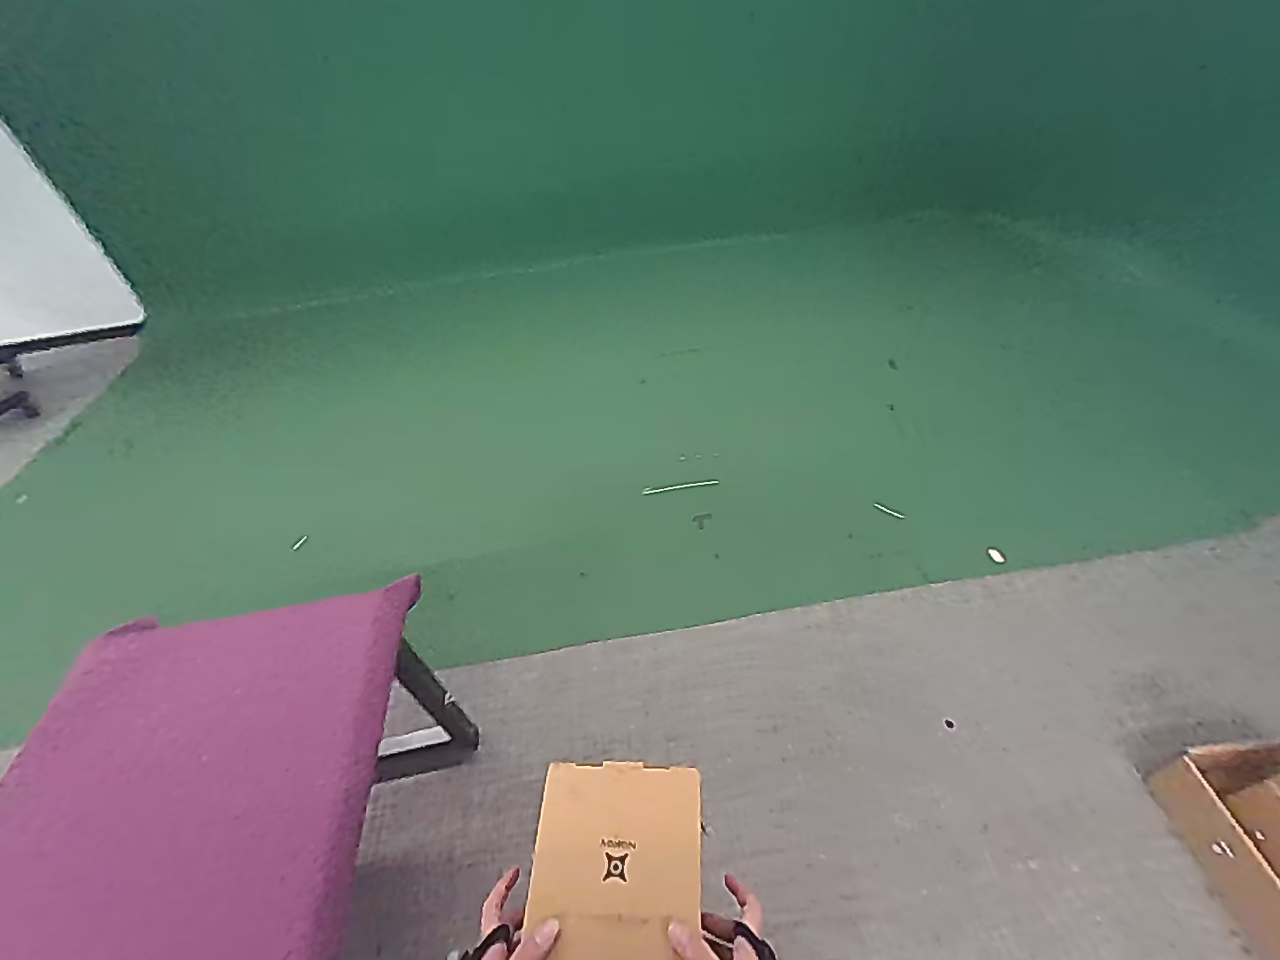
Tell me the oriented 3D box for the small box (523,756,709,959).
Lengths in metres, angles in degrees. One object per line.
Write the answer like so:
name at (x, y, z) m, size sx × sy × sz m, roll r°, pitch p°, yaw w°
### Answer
small box at (-0.010, 0.418, 0.580) m, size 0.168 × 0.176 × 0.179 m, roll -1°, pitch 49°, yaw 7°

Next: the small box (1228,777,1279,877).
small box at (1.460, 0.747, 1.163) m, size 0.179 × 0.176 × 0.168 m, roll -6°, pitch 44°, yaw 1°
